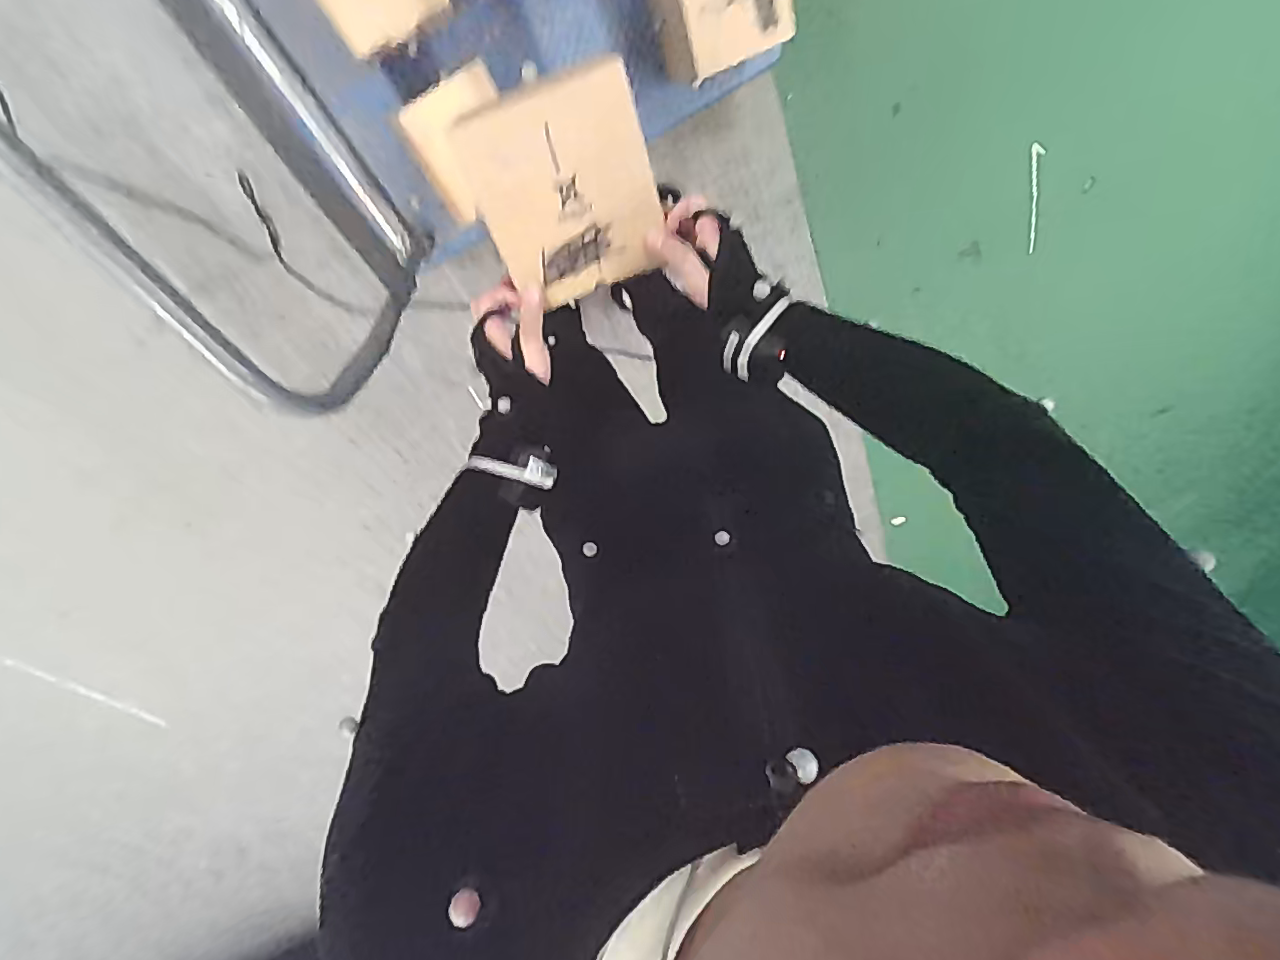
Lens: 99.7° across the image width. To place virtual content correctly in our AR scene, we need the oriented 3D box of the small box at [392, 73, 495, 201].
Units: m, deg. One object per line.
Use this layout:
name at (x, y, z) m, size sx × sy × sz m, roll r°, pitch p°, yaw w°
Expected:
small box at (-0.307, -0.580, 0.921) m, size 0.179 × 0.176 × 0.168 m, roll -4°, pitch 126°, yaw -14°

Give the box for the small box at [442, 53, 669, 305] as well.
small box at (-0.082, -0.317, 0.566) m, size 0.168 × 0.176 × 0.179 m, roll -19°, pitch 129°, yaw 2°
